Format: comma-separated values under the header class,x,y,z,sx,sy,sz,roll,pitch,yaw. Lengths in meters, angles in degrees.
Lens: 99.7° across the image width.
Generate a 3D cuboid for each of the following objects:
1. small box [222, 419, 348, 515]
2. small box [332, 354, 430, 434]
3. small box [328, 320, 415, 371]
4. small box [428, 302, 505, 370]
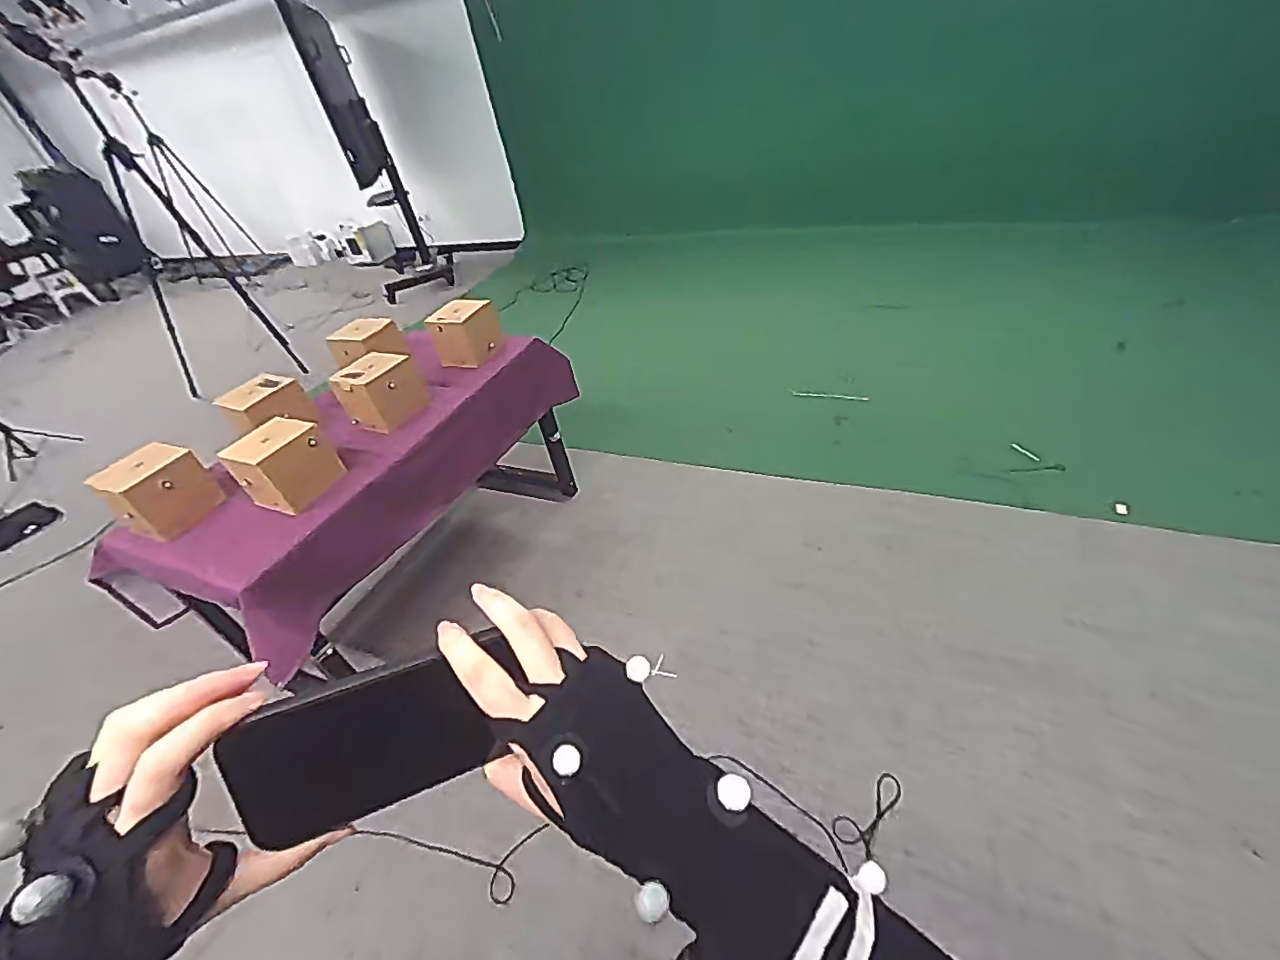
class,x,y,z,sx,sy,sz,roll,pitch,yaw
small box,-0.895,-0.034,1.380,0.168,0.176,0.179,10,42,25
small box,-0.767,-0.258,1.621,0.168,0.176,0.179,12,43,26
small box,-0.932,-0.444,1.888,0.179,0.176,0.168,8,43,22
small box,-0.591,-0.500,1.872,0.168,0.176,0.179,8,42,24
